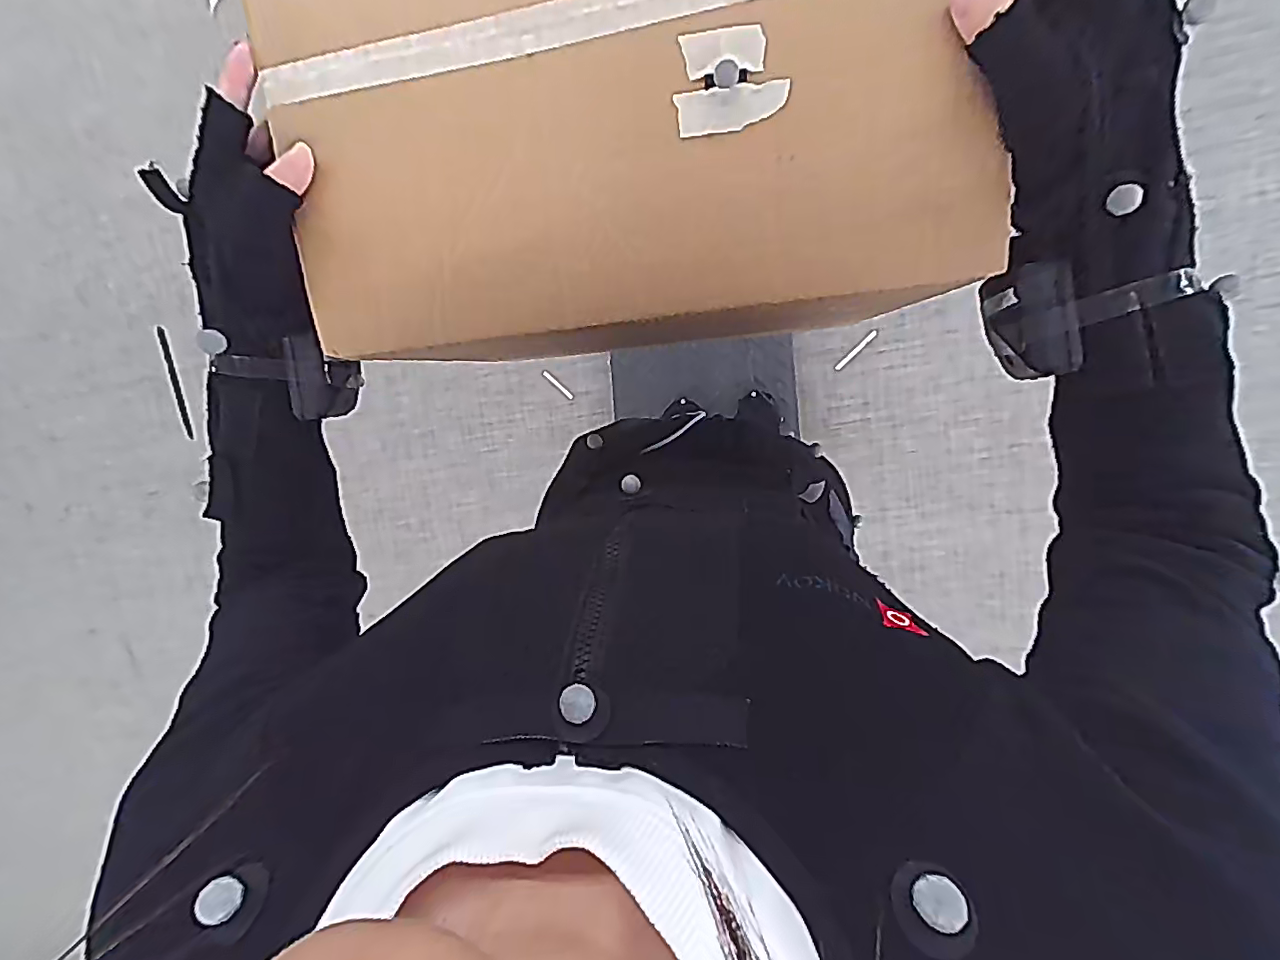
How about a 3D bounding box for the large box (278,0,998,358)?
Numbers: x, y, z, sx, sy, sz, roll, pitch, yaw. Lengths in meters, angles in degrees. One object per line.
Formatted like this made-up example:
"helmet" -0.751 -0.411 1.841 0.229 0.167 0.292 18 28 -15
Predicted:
"large box" 0.002 -0.283 0.445 0.408 0.320 0.320 -5 102 9
